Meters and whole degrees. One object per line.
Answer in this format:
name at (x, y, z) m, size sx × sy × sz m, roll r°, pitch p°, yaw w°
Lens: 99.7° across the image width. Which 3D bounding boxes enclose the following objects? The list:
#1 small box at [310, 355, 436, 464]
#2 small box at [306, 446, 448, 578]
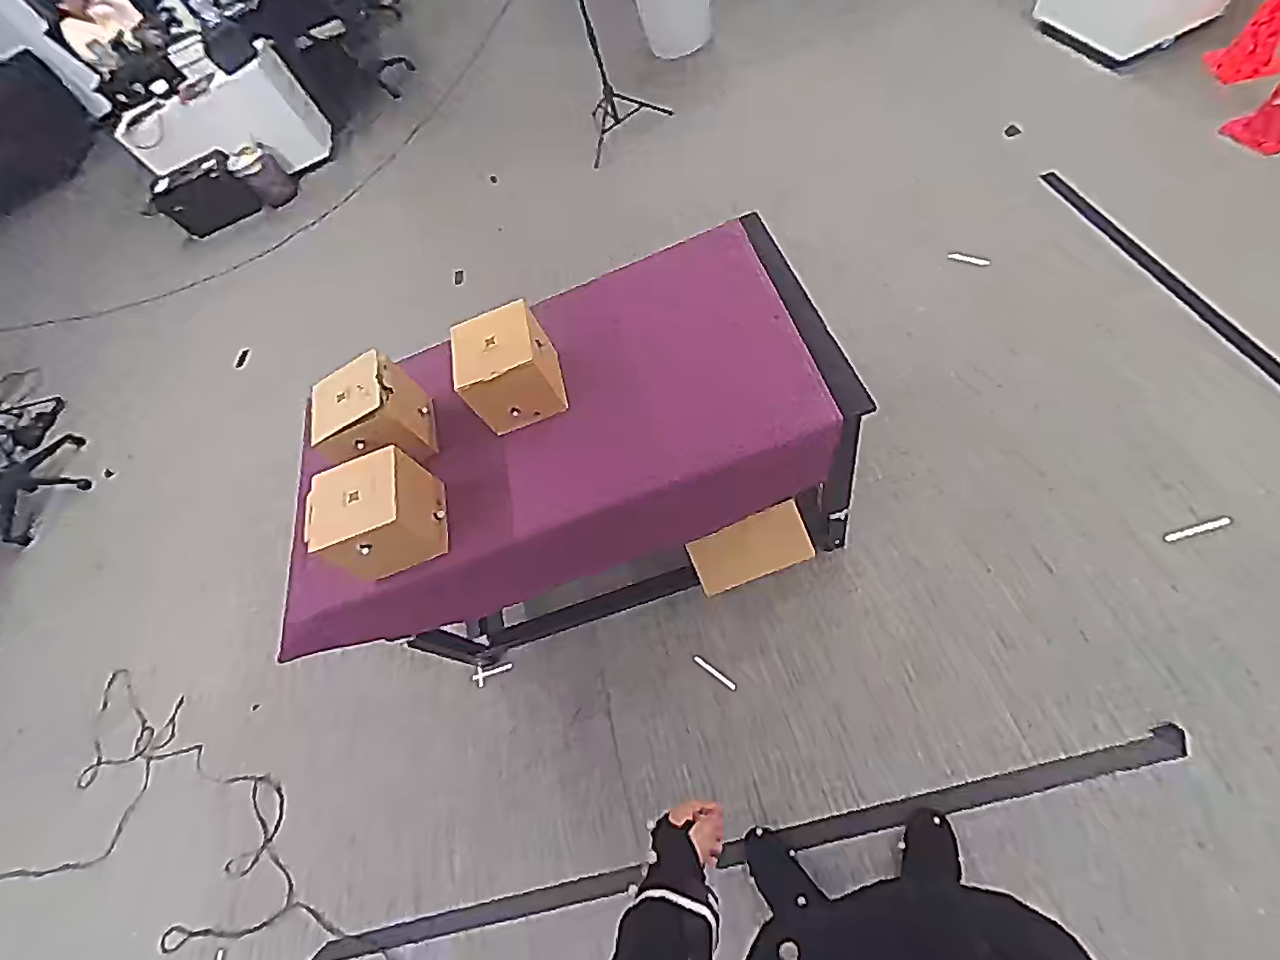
small box at (-0.564, -0.126, 1.154) m, size 0.179 × 0.176 × 0.168 m, roll -22°, pitch 60°, yaw 5°
small box at (-0.492, 0.069, 1.030) m, size 0.179 × 0.176 × 0.168 m, roll -20°, pitch 59°, yaw 6°
